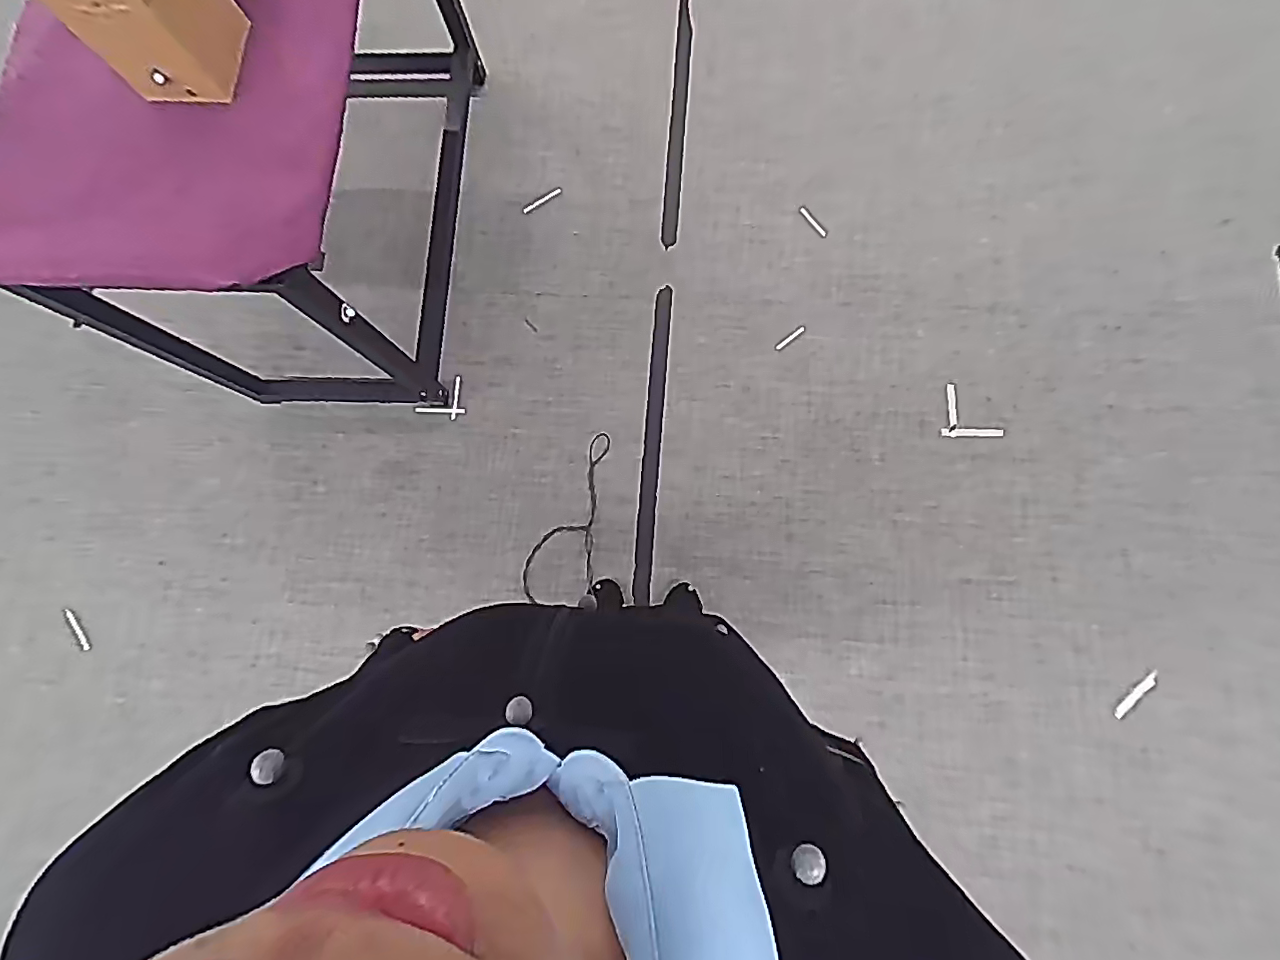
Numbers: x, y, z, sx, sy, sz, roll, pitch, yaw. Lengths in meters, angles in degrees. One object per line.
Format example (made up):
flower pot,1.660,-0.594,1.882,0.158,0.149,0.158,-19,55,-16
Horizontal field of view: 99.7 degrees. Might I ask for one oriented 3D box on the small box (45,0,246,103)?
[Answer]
small box,-0.809,-0.780,0.906,0.168,0.176,0.179,4,80,4
